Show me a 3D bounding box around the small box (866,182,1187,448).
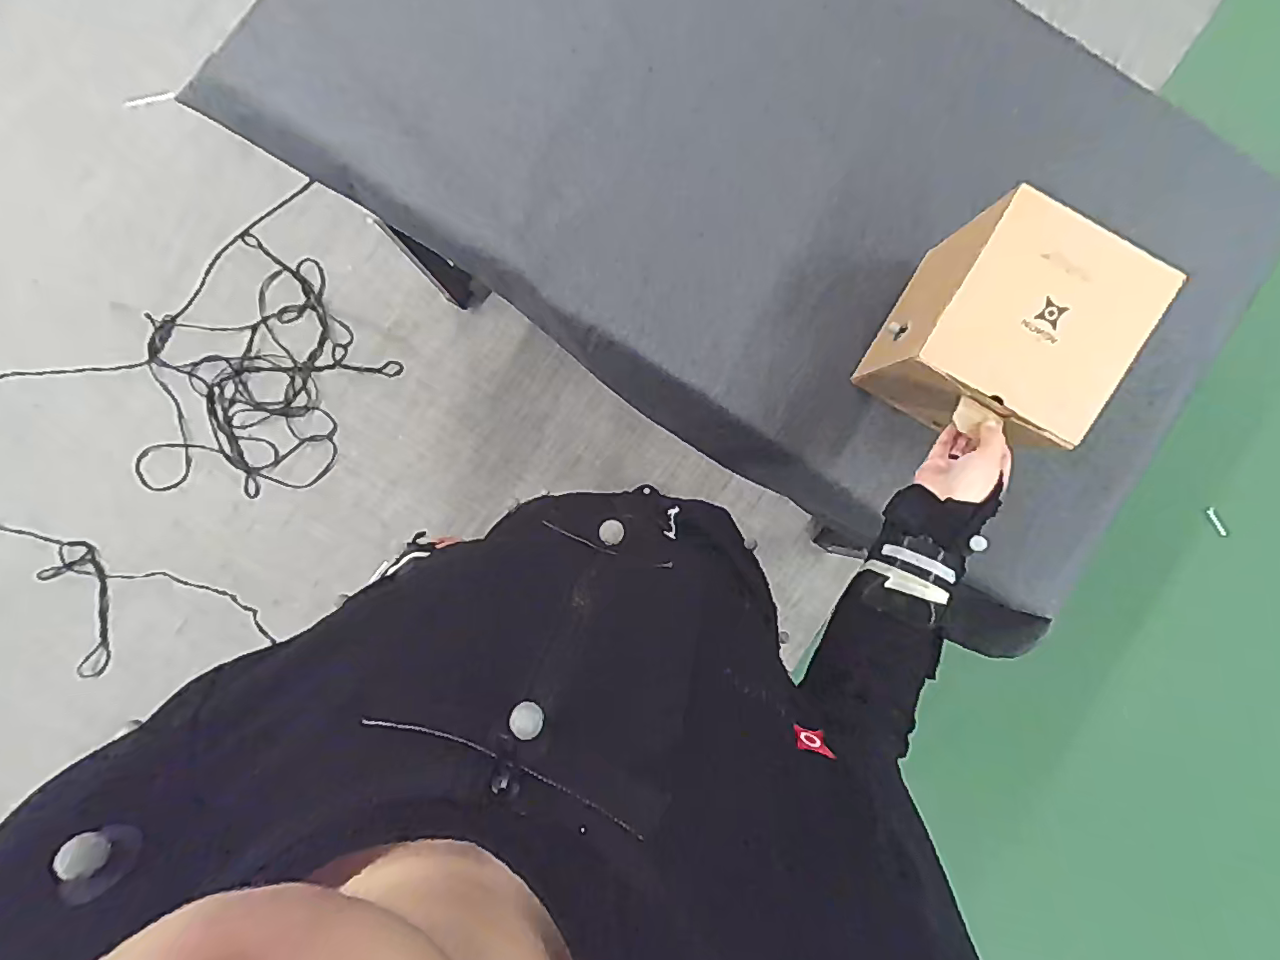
[{"bbox_3d":[0.358,-0.145,0.545,0.168,0.176,0.179,29,93,-1],"label":"small box"}]
